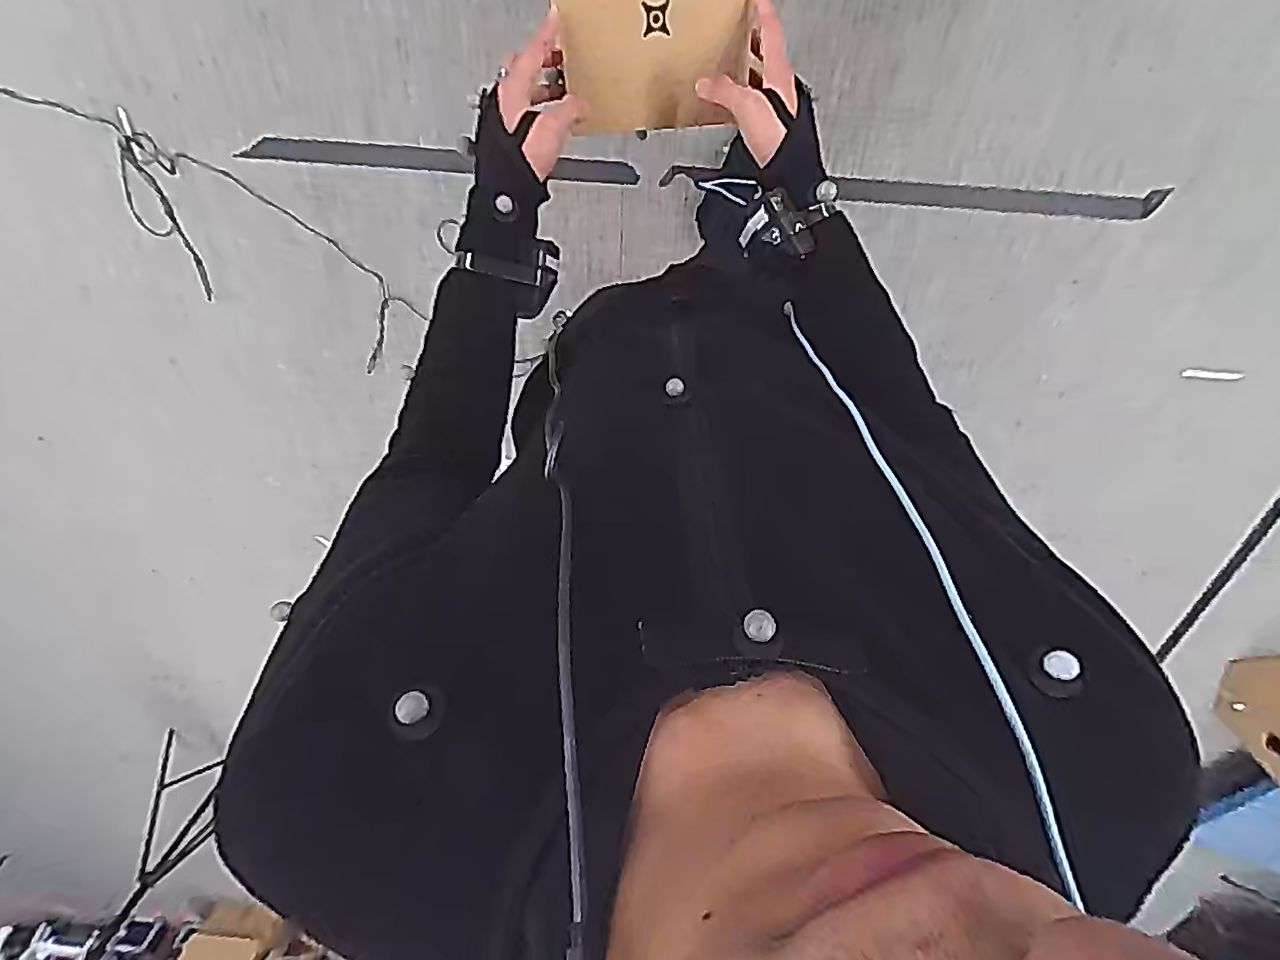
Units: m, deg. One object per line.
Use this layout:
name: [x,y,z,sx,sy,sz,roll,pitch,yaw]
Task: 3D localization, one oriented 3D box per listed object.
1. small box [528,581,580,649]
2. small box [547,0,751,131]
small box: [-0.321,0.504,2.031,0.168,0.176,0.179,8,122,1]
small box: [0.000,-0.441,0.500,0.168,0.176,0.179,-8,128,-5]
